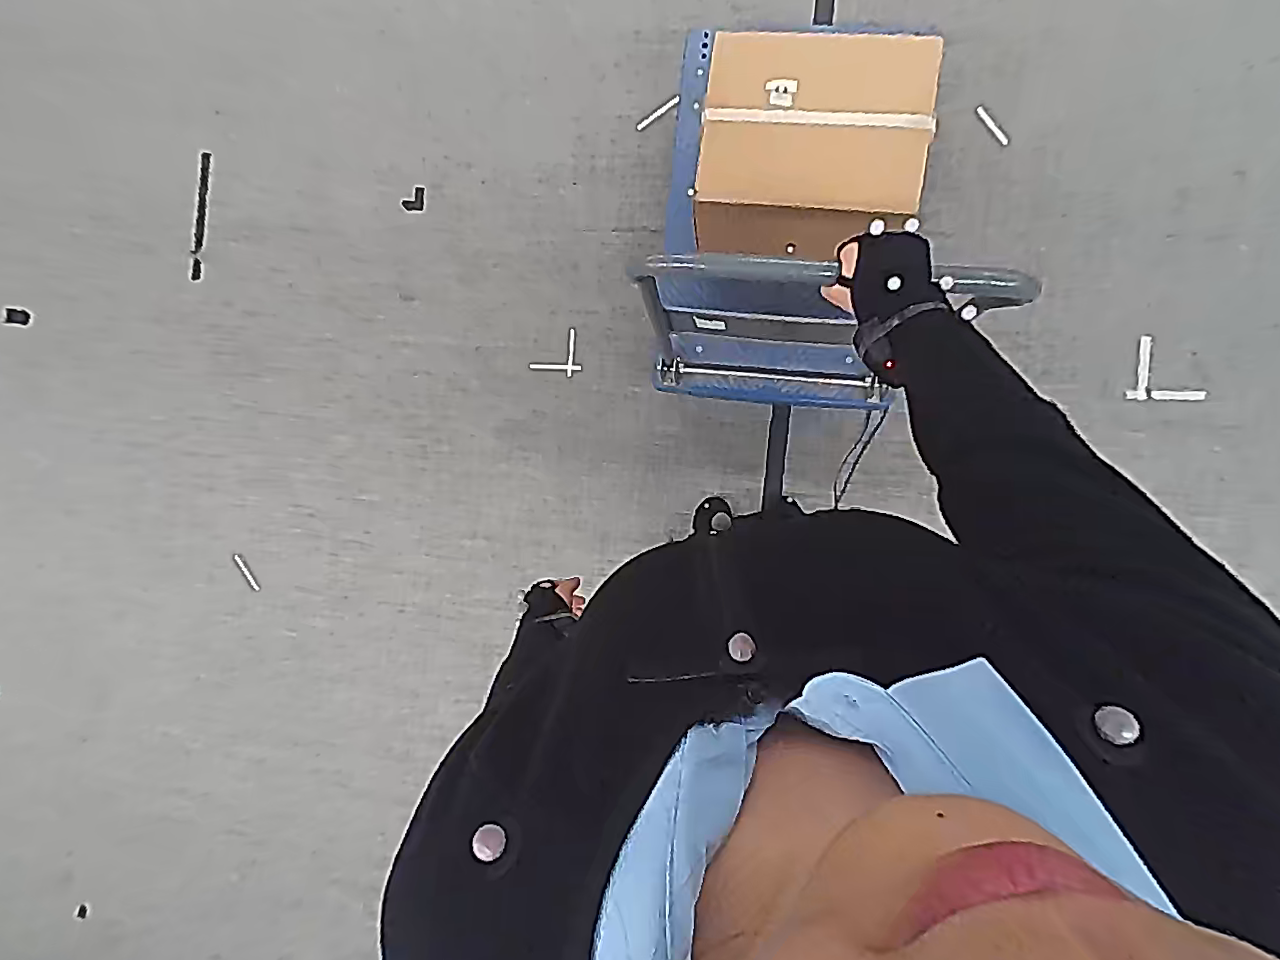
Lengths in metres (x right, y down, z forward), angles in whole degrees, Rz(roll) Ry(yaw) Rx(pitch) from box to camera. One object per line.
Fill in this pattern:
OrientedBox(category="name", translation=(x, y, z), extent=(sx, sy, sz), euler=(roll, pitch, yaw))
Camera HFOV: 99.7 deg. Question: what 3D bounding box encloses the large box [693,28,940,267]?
OrientedBox(category="large box", translation=(0.336, -0.654, 1.117), extent=(0.408, 0.320, 0.320), euler=(8, 92, 9))
